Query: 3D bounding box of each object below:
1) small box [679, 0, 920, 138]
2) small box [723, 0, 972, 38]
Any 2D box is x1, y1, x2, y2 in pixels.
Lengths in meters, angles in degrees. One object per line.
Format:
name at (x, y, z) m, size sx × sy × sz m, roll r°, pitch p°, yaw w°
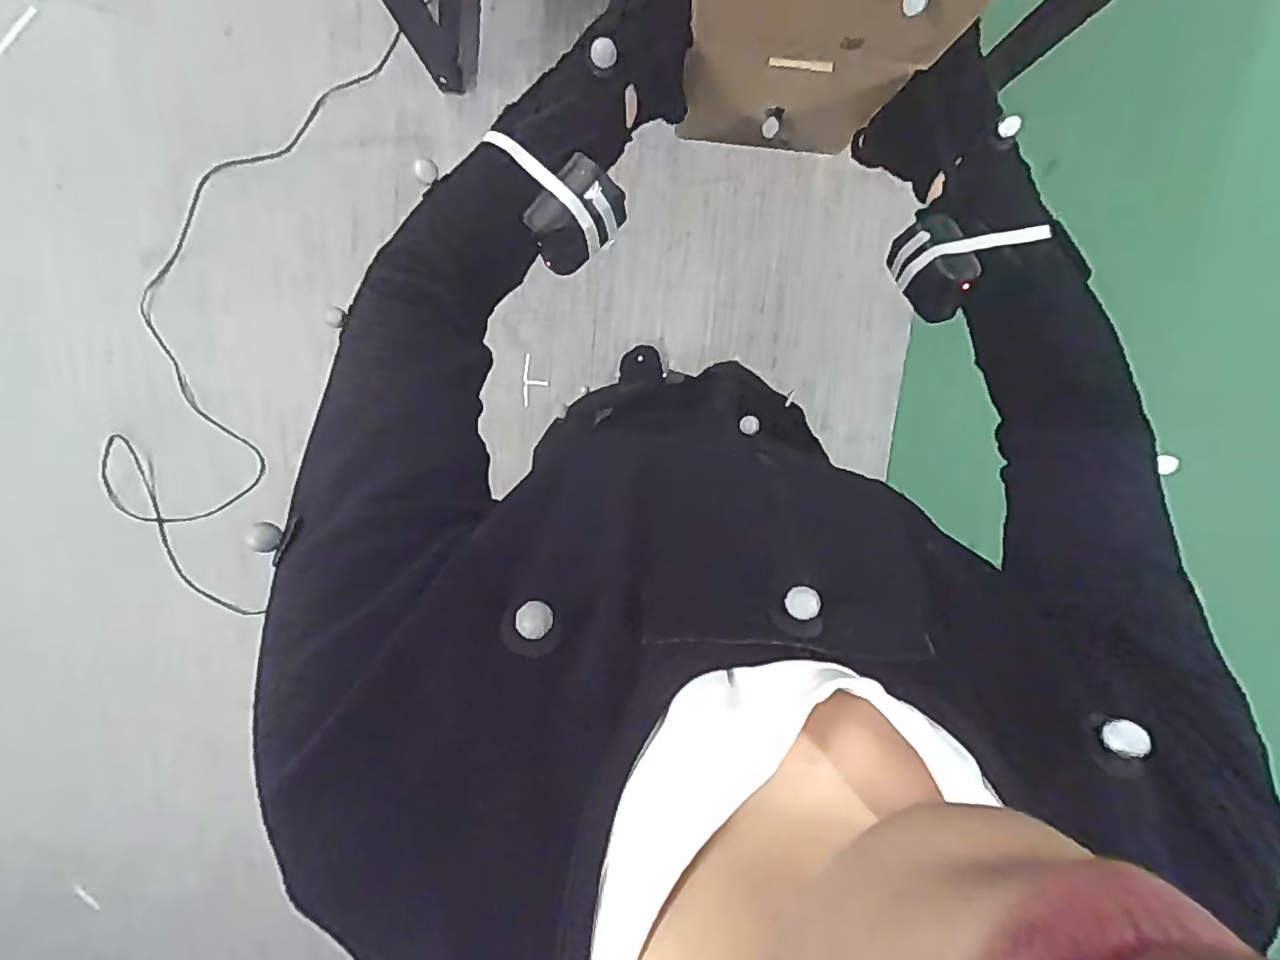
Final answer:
small box at (0.120, -0.398, 0.430) m, size 0.168 × 0.176 × 0.179 m, roll 4°, pitch 104°, yaw 2°
small box at (0.122, -0.352, 0.253) m, size 0.168 × 0.176 × 0.179 m, roll 6°, pitch 104°, yaw 0°
